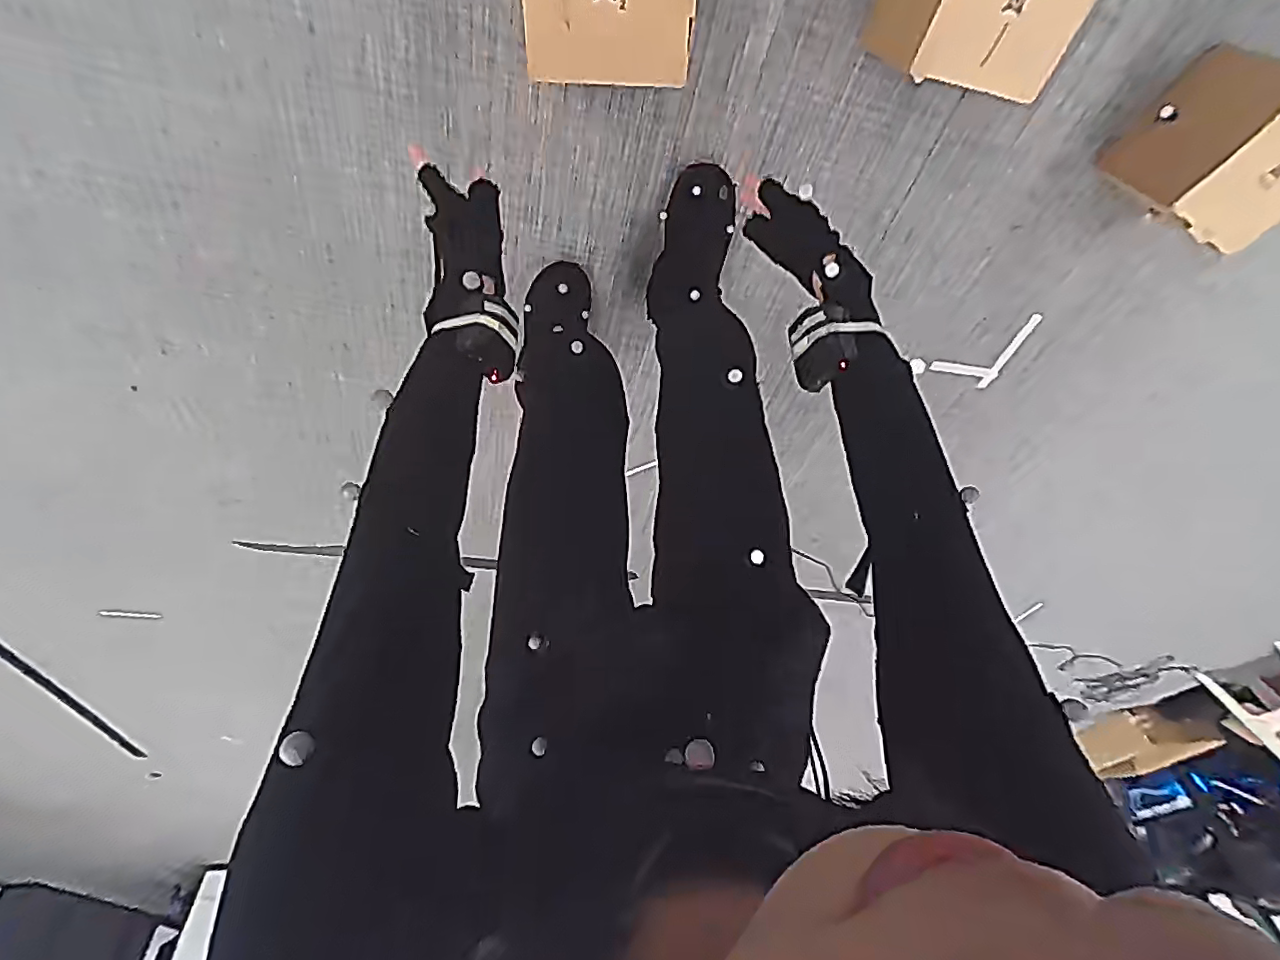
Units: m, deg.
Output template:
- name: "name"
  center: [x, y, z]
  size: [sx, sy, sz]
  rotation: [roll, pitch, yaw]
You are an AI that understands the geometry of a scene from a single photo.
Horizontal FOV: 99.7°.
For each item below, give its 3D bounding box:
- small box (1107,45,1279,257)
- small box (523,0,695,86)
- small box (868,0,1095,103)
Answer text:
- name: "small box"
  center: [0.819, -0.460, 0.762]
  size: [0.168, 0.176, 0.179]
  rotation: [18, 133, -23]
- name: "small box"
  center: [-0.034, -0.549, 0.589]
  size: [0.179, 0.176, 0.168]
  rotation: [0, 135, -3]
- name: "small box"
  center: [0.389, -0.564, 0.608]
  size: [0.168, 0.176, 0.179]
  rotation: [6, 137, -11]
